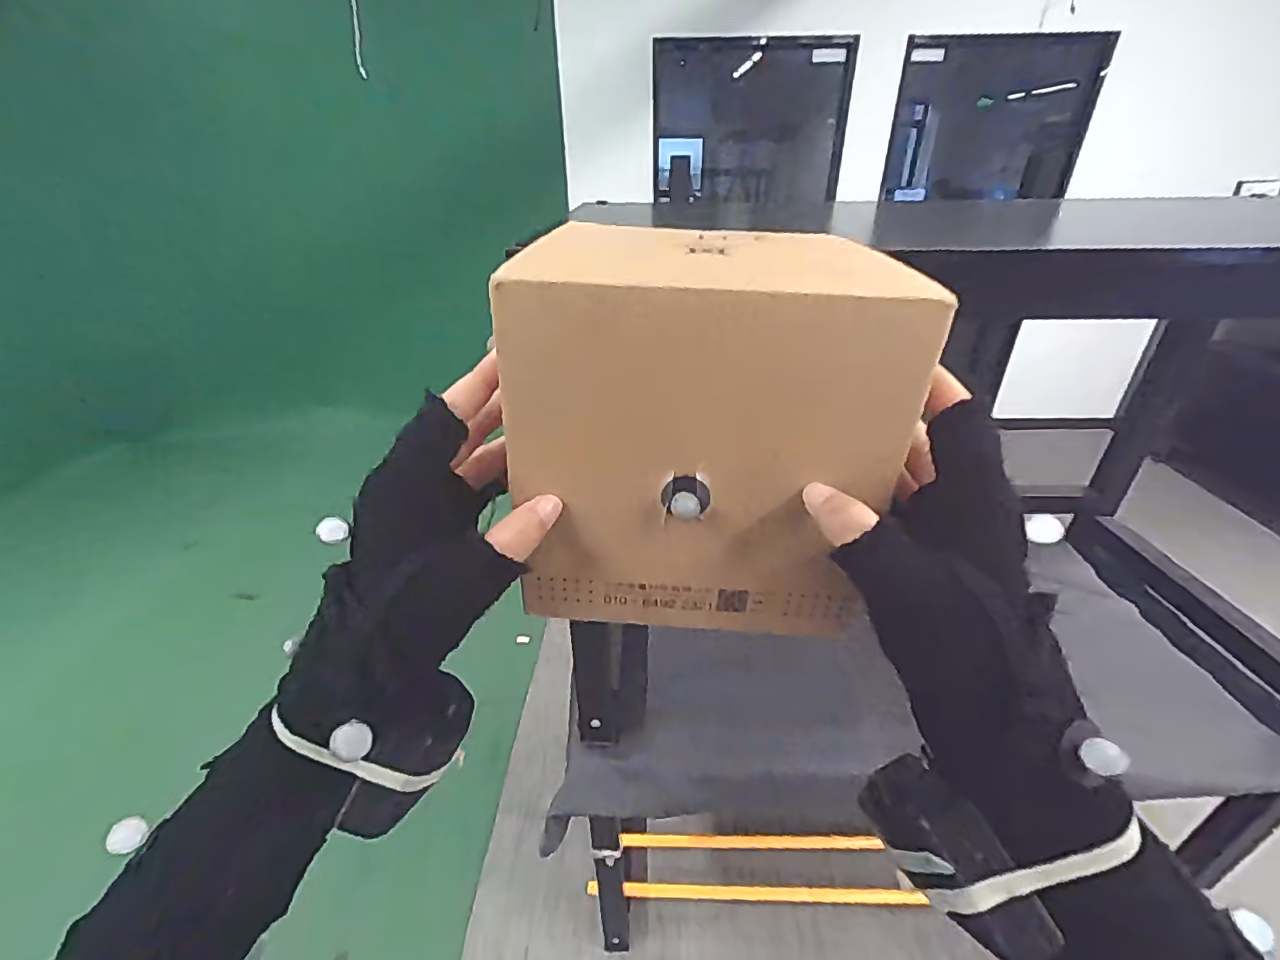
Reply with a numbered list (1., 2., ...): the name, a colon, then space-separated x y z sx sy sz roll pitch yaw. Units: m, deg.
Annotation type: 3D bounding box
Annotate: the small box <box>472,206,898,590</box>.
1. small box: 0.020 -0.056 0.315 0.168 0.176 0.179 4 31 2
